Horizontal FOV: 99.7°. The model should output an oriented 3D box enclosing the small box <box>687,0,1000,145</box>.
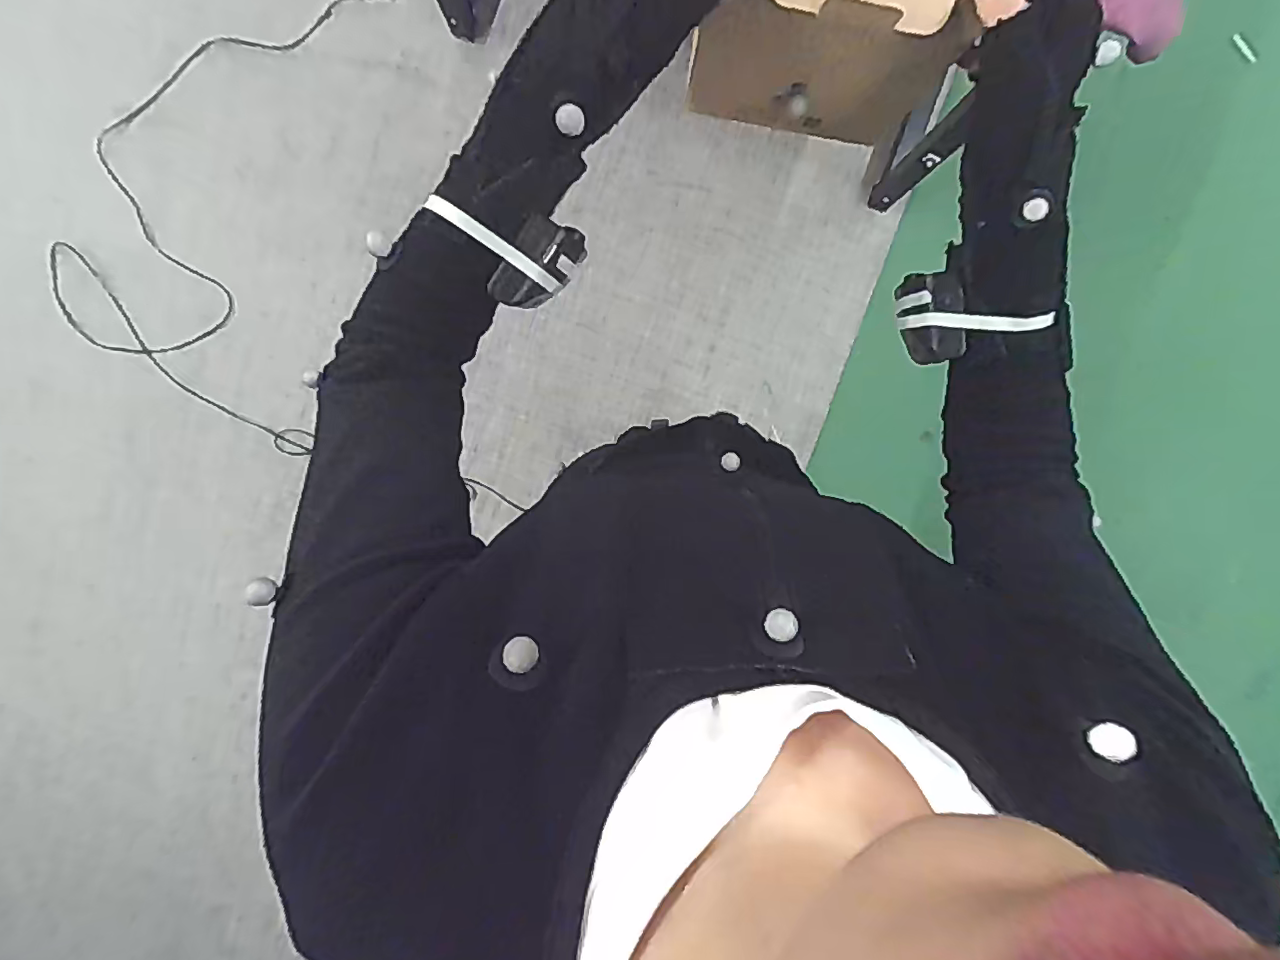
[{"bbox_3d":[0.131,-0.369,0.364,0.168,0.176,0.179,9,98,-3],"label":"small box"}]
